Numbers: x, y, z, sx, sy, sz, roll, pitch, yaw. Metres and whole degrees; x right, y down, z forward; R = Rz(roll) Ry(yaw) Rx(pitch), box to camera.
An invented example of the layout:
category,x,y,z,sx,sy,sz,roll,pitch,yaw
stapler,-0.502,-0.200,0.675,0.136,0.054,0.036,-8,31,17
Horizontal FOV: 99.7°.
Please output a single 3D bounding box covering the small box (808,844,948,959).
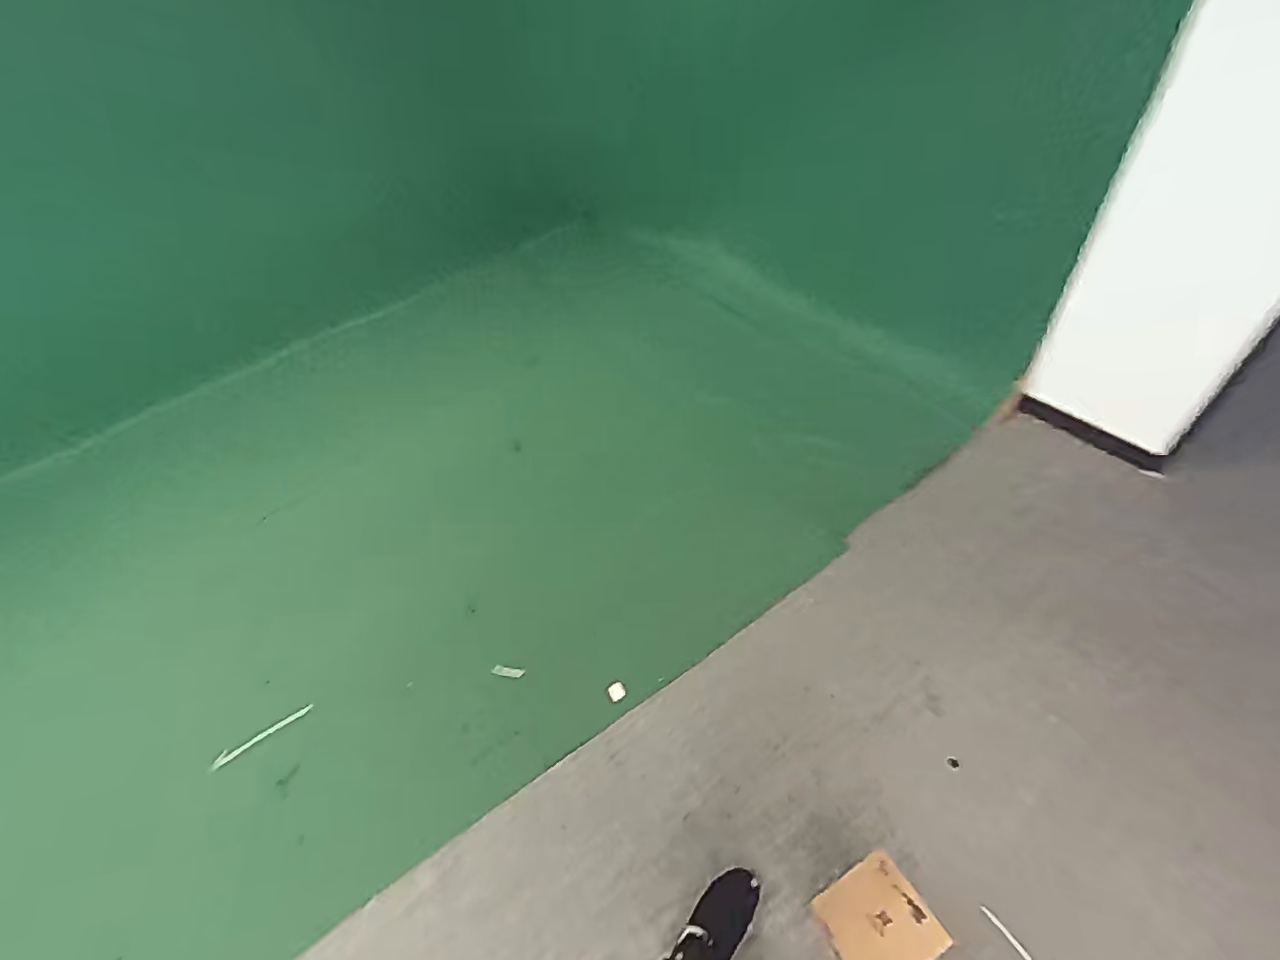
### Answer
category,x,y,z,sx,sy,sz,roll,pitch,yaw
small box,0.443,0.839,1.034,0.179,0.176,0.168,-29,50,-10
